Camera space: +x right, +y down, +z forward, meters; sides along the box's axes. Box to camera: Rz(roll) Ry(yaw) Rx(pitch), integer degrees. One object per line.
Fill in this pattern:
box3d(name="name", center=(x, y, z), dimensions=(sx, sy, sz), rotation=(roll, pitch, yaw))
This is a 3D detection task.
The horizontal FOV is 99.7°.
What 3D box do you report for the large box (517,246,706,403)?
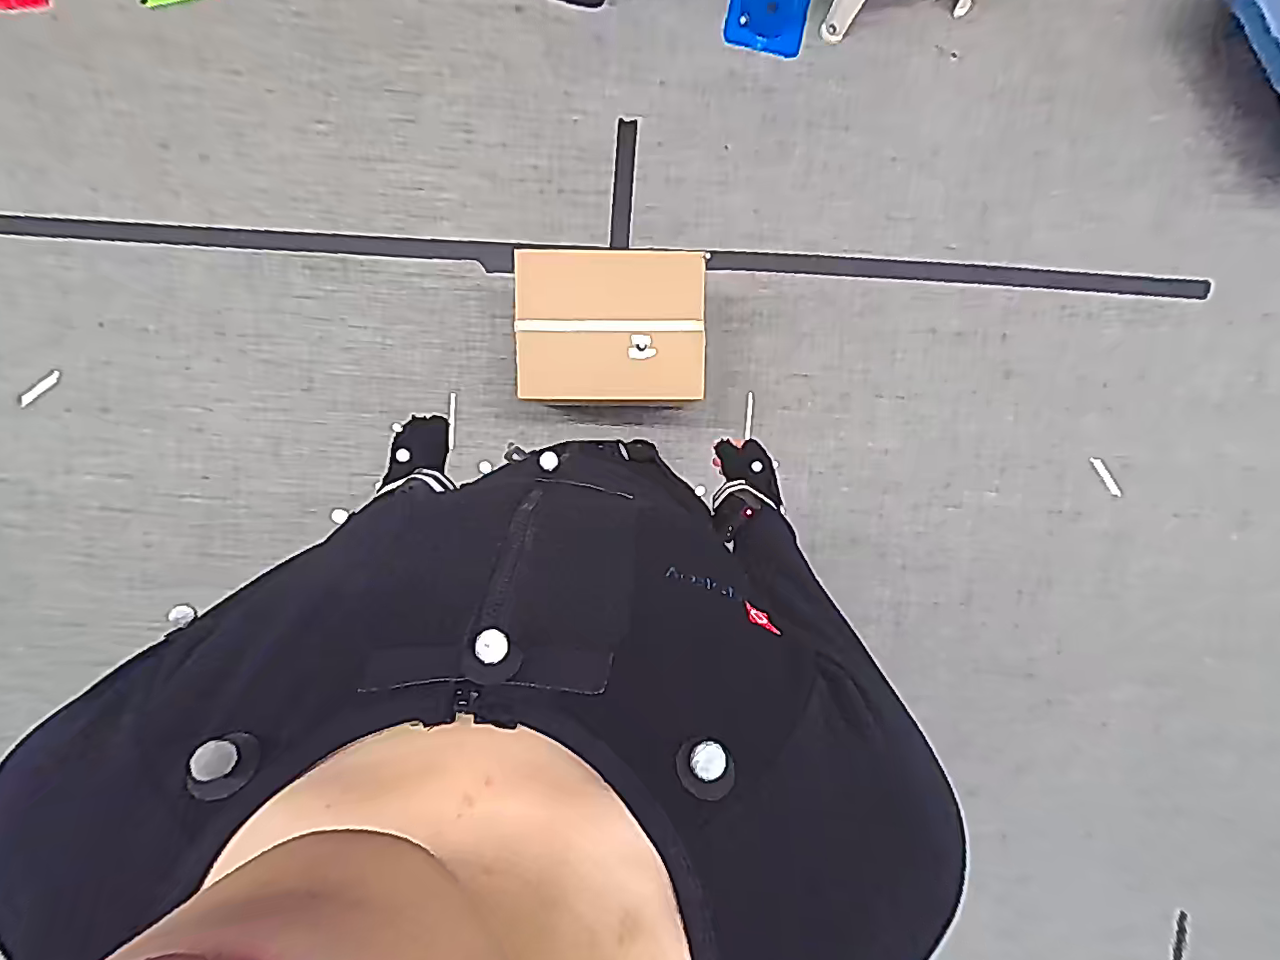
box3d(name="large box", center=(-0.065, -0.351, 1.300), dimensions=(0.408, 0.320, 0.320), rotation=(0, 96, -2))
